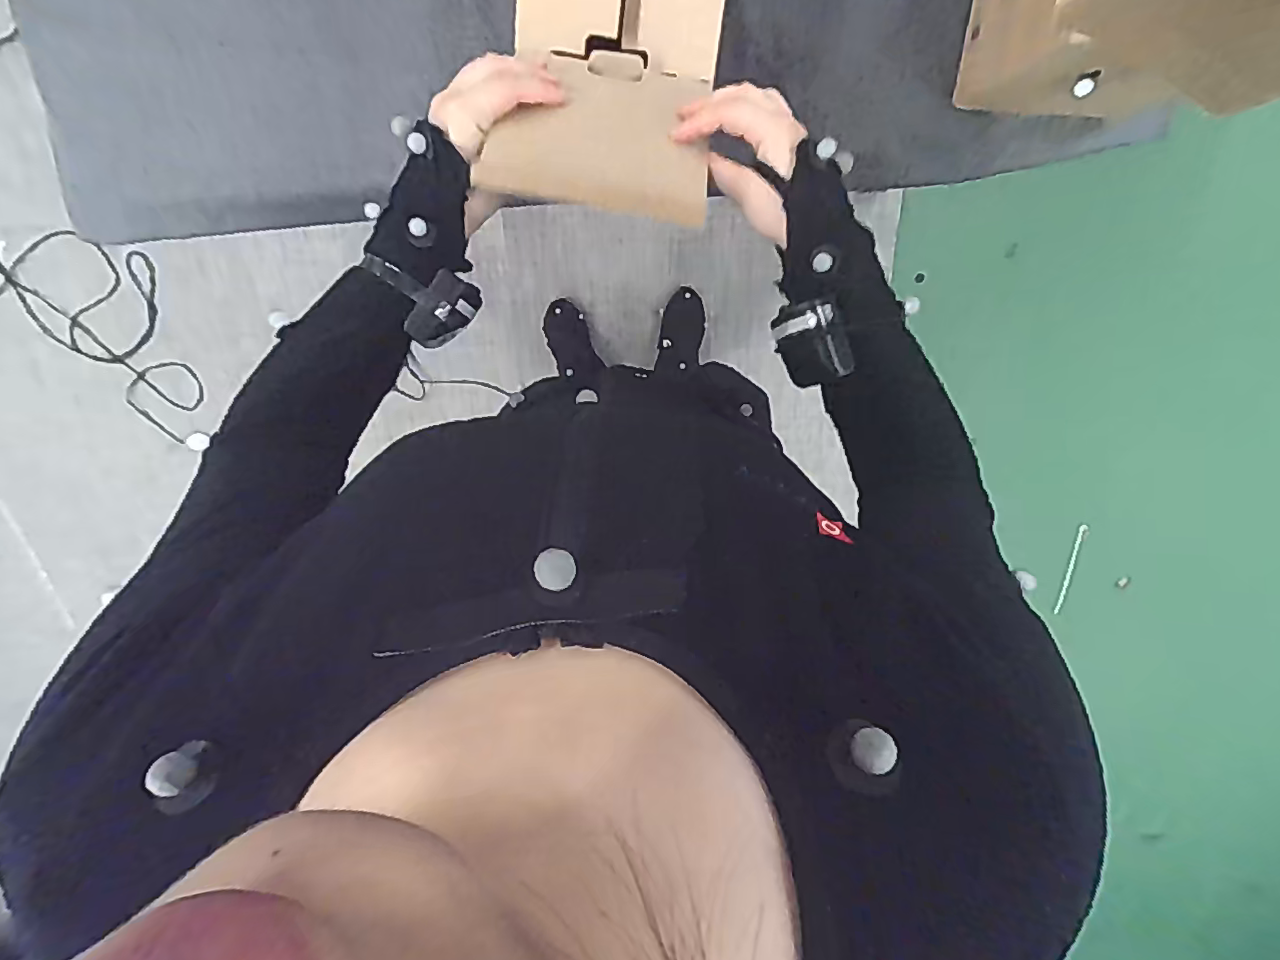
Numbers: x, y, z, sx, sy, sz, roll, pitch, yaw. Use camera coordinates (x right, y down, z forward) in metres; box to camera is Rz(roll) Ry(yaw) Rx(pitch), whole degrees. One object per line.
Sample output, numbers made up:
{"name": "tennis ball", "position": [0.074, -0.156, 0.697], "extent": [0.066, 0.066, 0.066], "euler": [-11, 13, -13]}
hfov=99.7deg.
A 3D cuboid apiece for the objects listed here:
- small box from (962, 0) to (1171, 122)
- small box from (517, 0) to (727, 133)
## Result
{"name": "small box", "position": [0.424, -0.435, 0.476], "extent": [0.179, 0.176, 0.168], "euler": [3, 110, 0]}
{"name": "small box", "position": [-0.009, -0.436, 0.486], "extent": [0.168, 0.176, 0.179], "euler": [6, 110, -4]}
